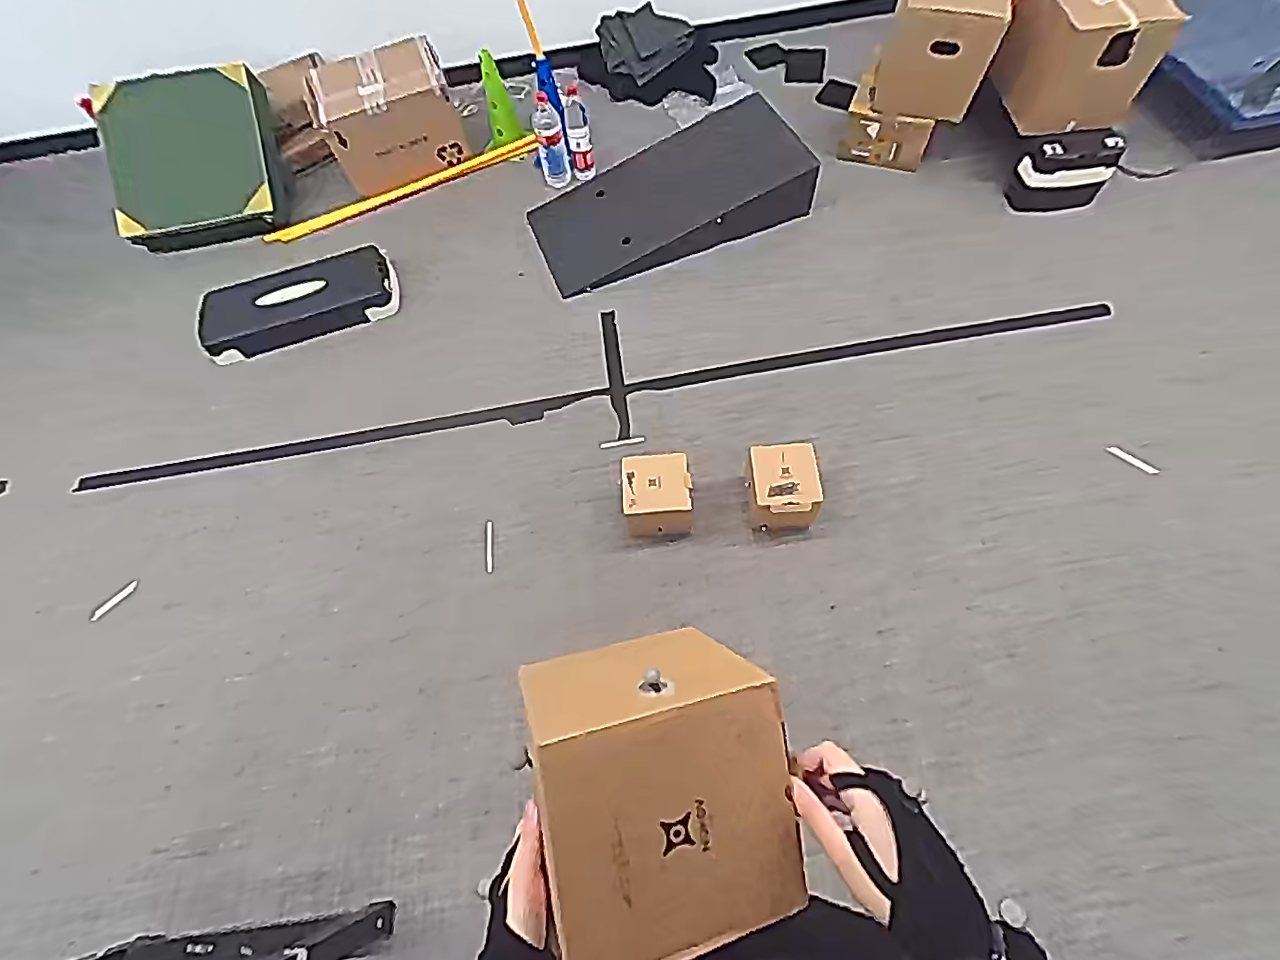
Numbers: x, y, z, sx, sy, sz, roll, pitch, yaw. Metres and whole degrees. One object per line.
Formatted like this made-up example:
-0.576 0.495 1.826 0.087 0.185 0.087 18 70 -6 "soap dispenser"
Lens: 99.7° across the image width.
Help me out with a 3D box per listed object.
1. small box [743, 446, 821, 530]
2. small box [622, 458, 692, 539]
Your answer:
0.374 0.028 1.450 0.168 0.176 0.179 -3 62 2 "small box"
0.044 0.053 1.462 0.179 0.176 0.168 -4 63 2 "small box"
